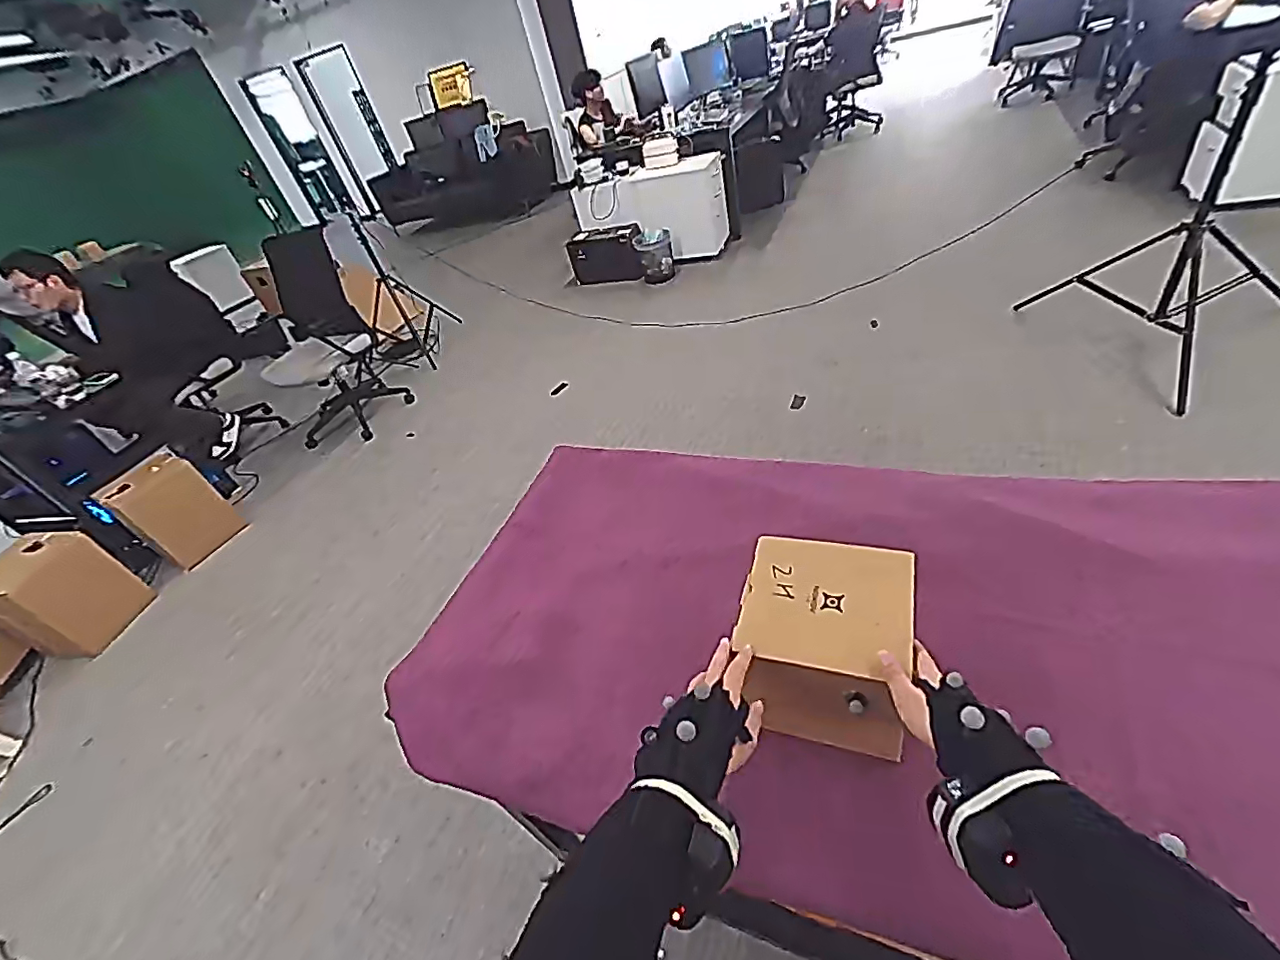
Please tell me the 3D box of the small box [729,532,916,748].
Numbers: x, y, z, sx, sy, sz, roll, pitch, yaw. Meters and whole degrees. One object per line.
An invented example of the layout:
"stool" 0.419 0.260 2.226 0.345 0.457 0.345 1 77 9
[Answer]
"small box" 0.216 0.185 0.632 0.179 0.176 0.168 4 43 24
